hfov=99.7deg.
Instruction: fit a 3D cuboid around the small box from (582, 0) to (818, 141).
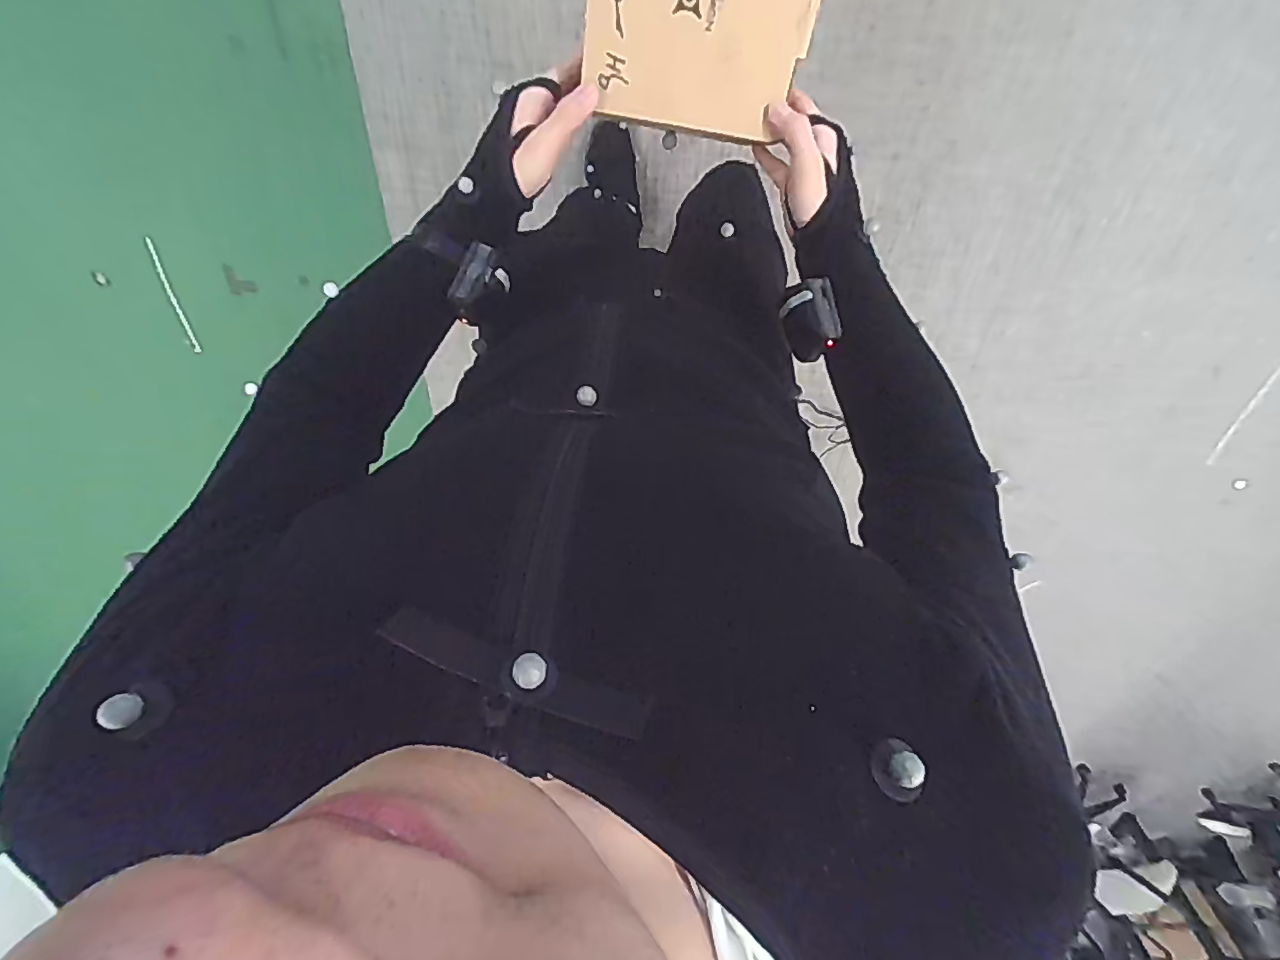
[{"bbox_3d":[0.045,-0.410,0.478,0.179,0.176,0.168,5,120,-7],"label":"small box"}]
